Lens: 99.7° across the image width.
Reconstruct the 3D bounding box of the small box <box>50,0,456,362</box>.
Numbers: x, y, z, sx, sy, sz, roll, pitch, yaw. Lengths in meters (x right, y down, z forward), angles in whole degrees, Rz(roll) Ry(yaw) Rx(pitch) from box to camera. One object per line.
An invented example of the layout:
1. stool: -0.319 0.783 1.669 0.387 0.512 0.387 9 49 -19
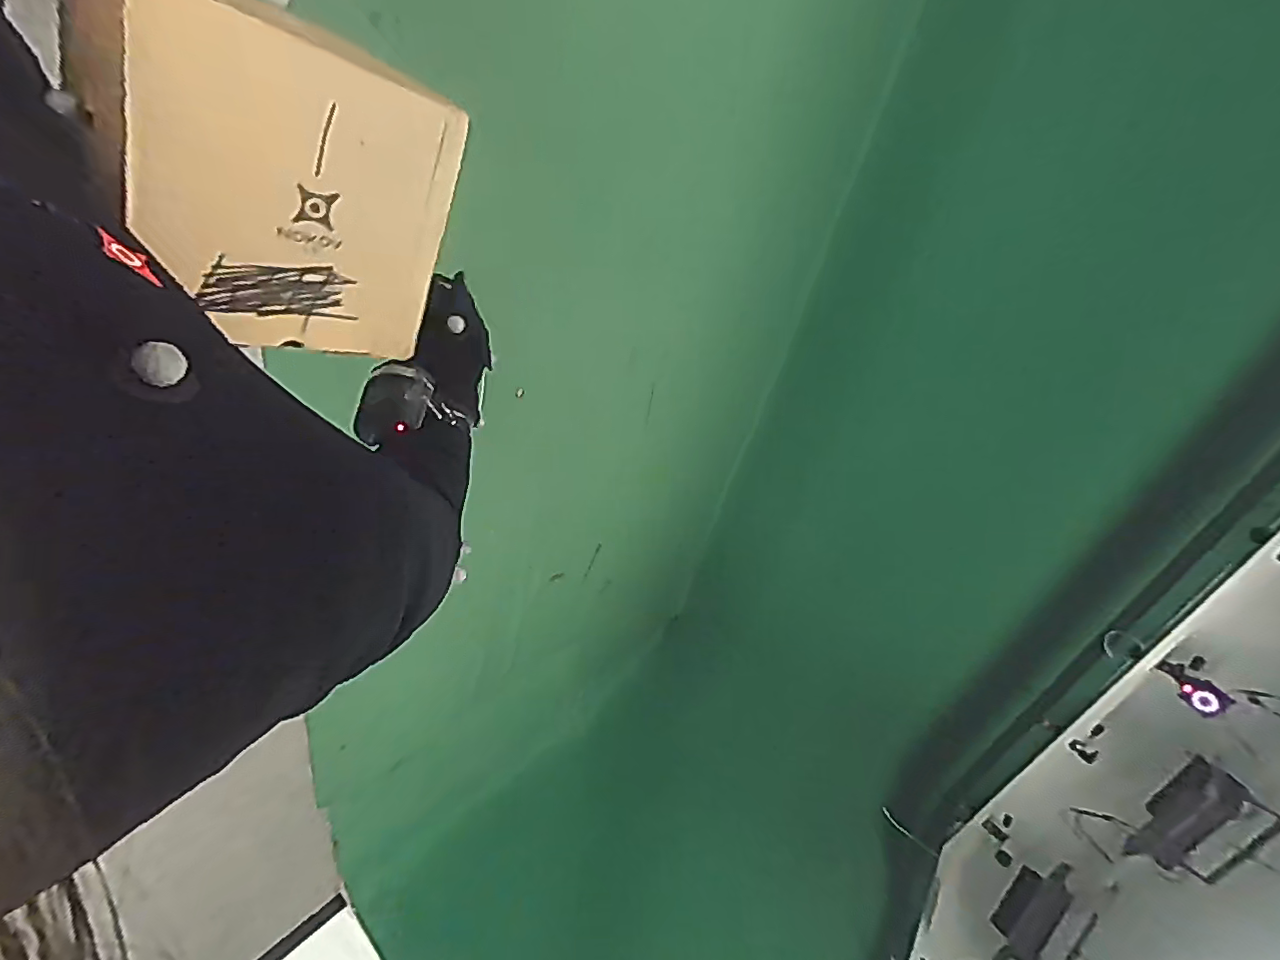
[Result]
1. small box: -0.258 -0.203 0.361 0.168 0.176 0.179 -9 135 -52
